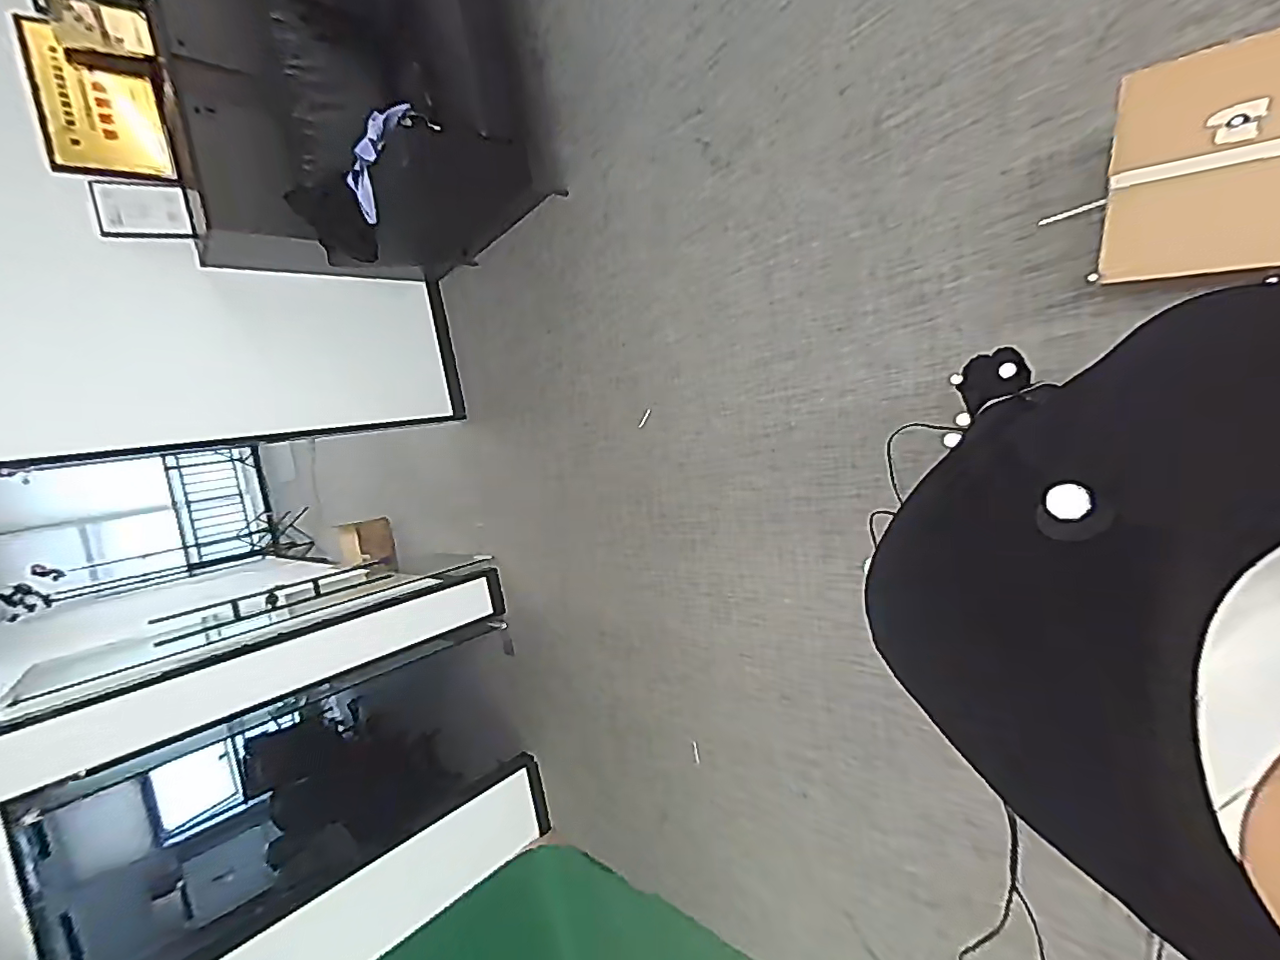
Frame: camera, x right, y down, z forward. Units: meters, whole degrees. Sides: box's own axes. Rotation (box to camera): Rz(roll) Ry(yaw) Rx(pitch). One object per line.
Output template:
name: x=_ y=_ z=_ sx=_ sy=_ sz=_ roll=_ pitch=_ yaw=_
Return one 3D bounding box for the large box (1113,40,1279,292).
large box: x=1.038 y=-0.482 z=0.837 sx=0.408 sy=0.320 sz=0.320 roll=10 pitch=107 yaw=47
